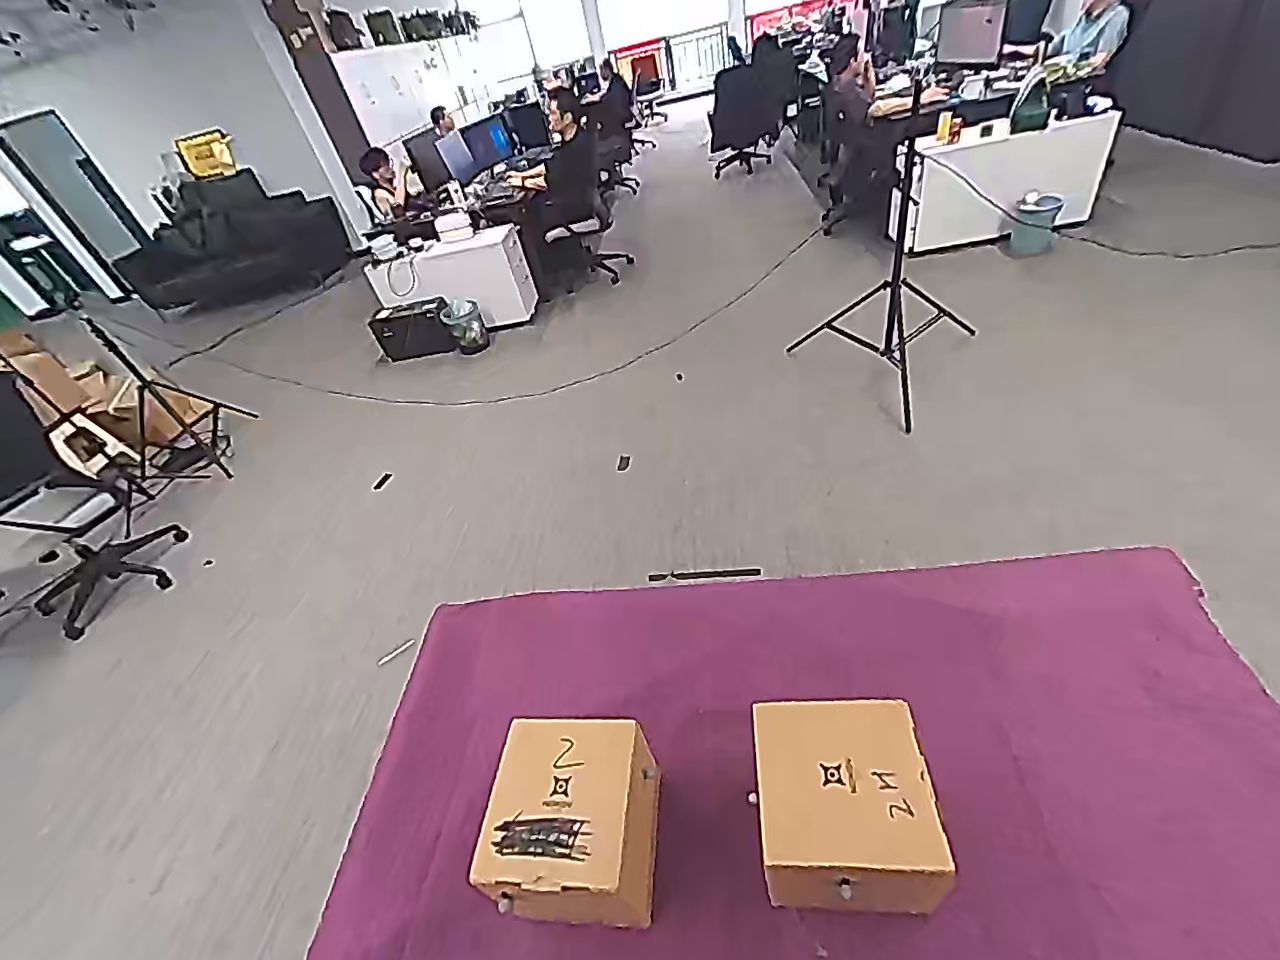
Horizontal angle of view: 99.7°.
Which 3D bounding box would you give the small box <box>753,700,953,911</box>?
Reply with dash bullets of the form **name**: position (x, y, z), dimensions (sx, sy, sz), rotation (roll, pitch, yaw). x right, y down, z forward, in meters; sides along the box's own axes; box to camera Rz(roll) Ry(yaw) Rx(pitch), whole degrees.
- **small box**: position (0.228, 0.371, 0.620), dimensions (0.179, 0.176, 0.168), rotation (-5, 41, 12)
